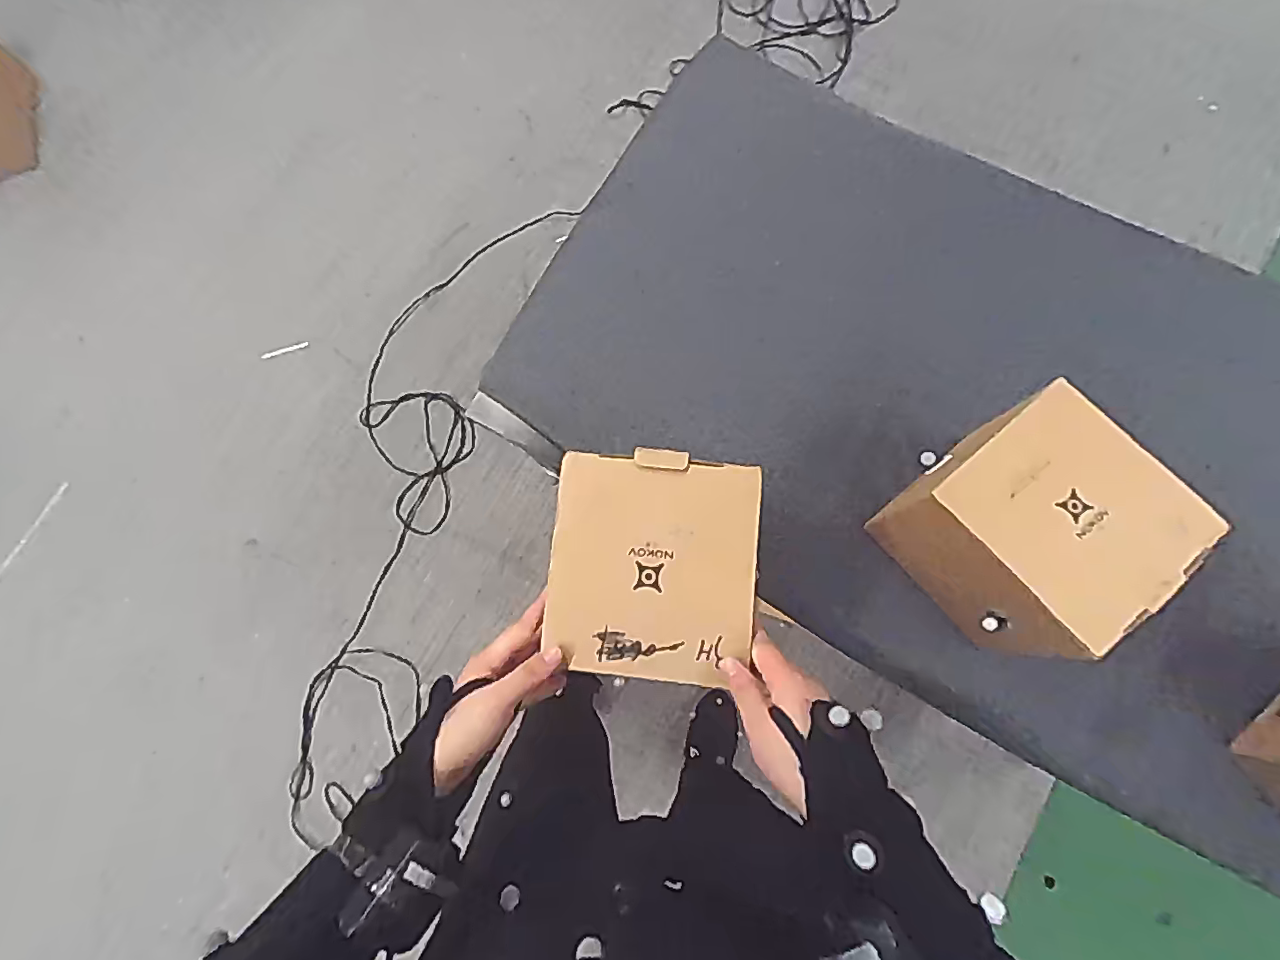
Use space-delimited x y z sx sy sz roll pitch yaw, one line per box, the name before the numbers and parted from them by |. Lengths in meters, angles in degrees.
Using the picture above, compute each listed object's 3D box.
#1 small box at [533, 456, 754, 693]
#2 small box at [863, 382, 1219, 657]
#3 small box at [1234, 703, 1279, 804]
small box | 0.010 0.083 0.511 0.168 0.176 0.179 4 82 7
small box | 0.357 0.045 0.523 0.168 0.176 0.179 -39 76 -8
small box | 0.682 0.258 0.443 0.168 0.176 0.179 -38 76 -6
